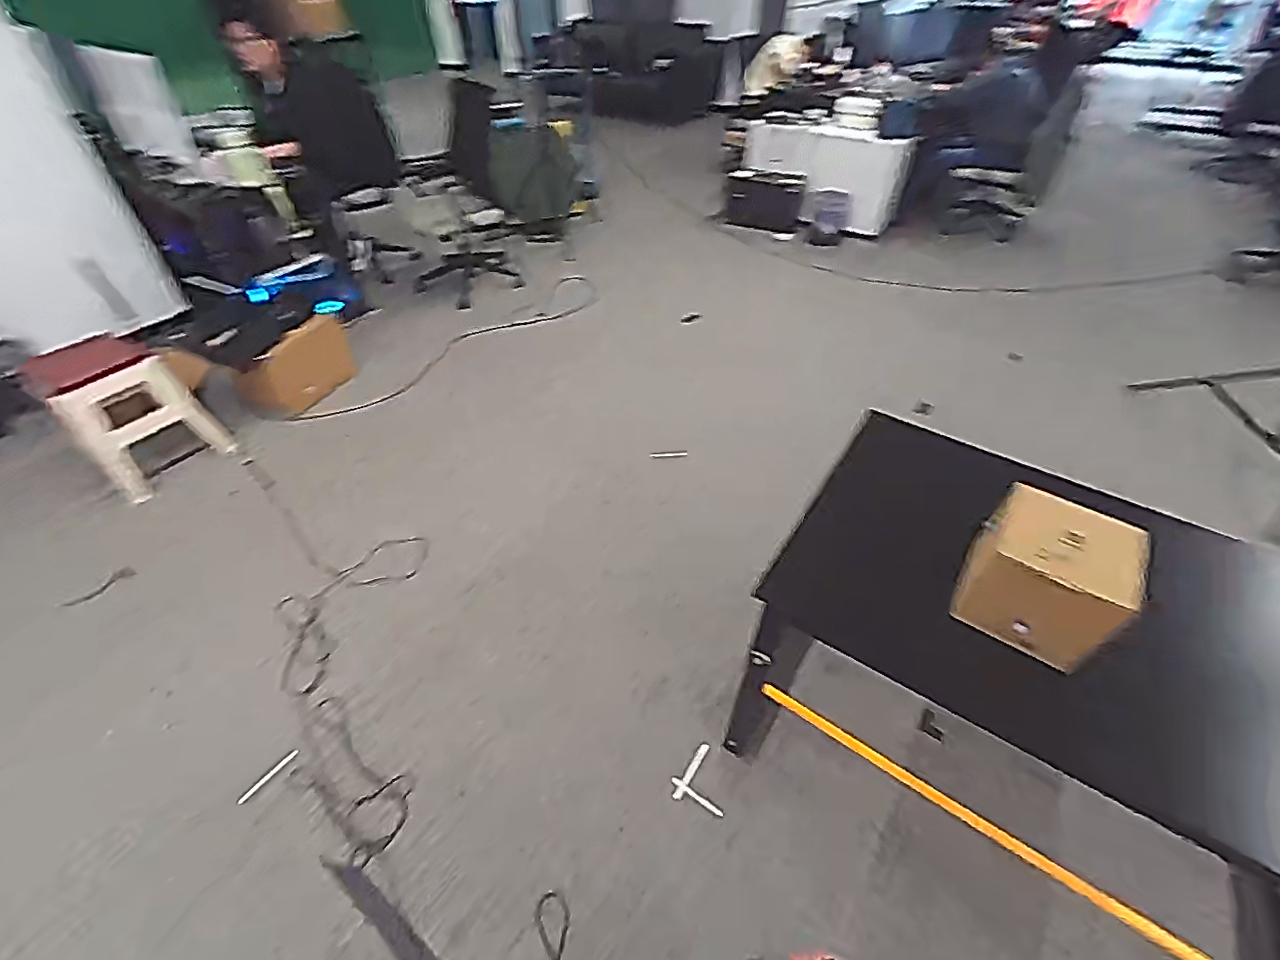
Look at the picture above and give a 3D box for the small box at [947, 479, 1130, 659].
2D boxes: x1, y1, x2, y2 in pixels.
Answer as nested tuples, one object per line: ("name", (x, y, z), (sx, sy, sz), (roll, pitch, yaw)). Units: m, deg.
("small box", (0.608, 0.137, 0.839), (0.168, 0.176, 0.179), (26, 51, 25))
